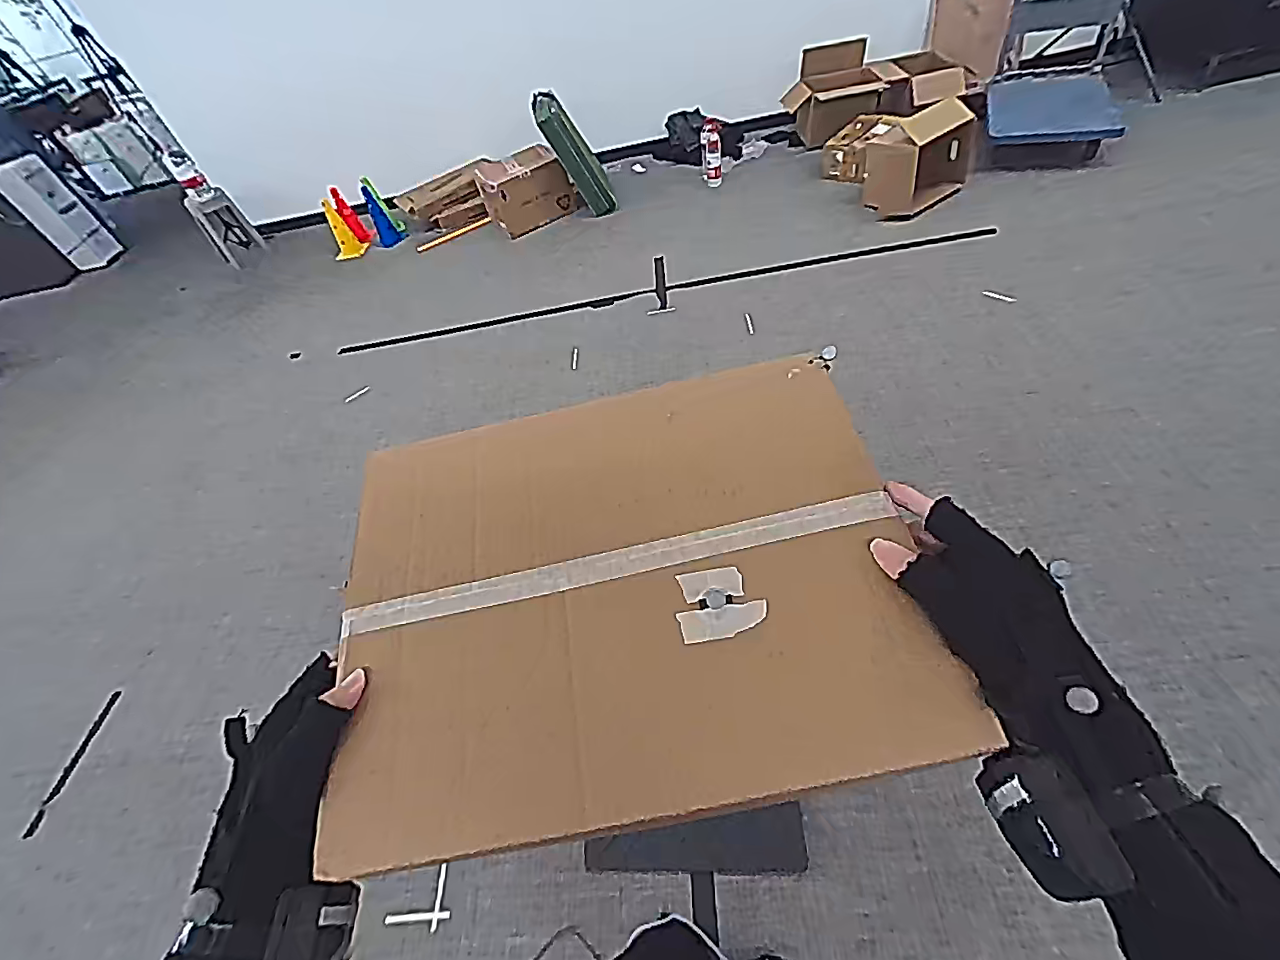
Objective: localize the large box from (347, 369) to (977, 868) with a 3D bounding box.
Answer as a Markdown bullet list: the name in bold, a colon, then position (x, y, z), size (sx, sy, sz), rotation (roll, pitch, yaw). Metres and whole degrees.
- **large box**: position (0.006, 0.148, 0.532), size (0.408, 0.320, 0.320), rotation (-13, 58, 2)

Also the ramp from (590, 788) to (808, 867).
- **ramp**: position (0.119, 0.420, 1.437), size (0.509, 0.206, 0.991), rotation (-7, 49, 7)
